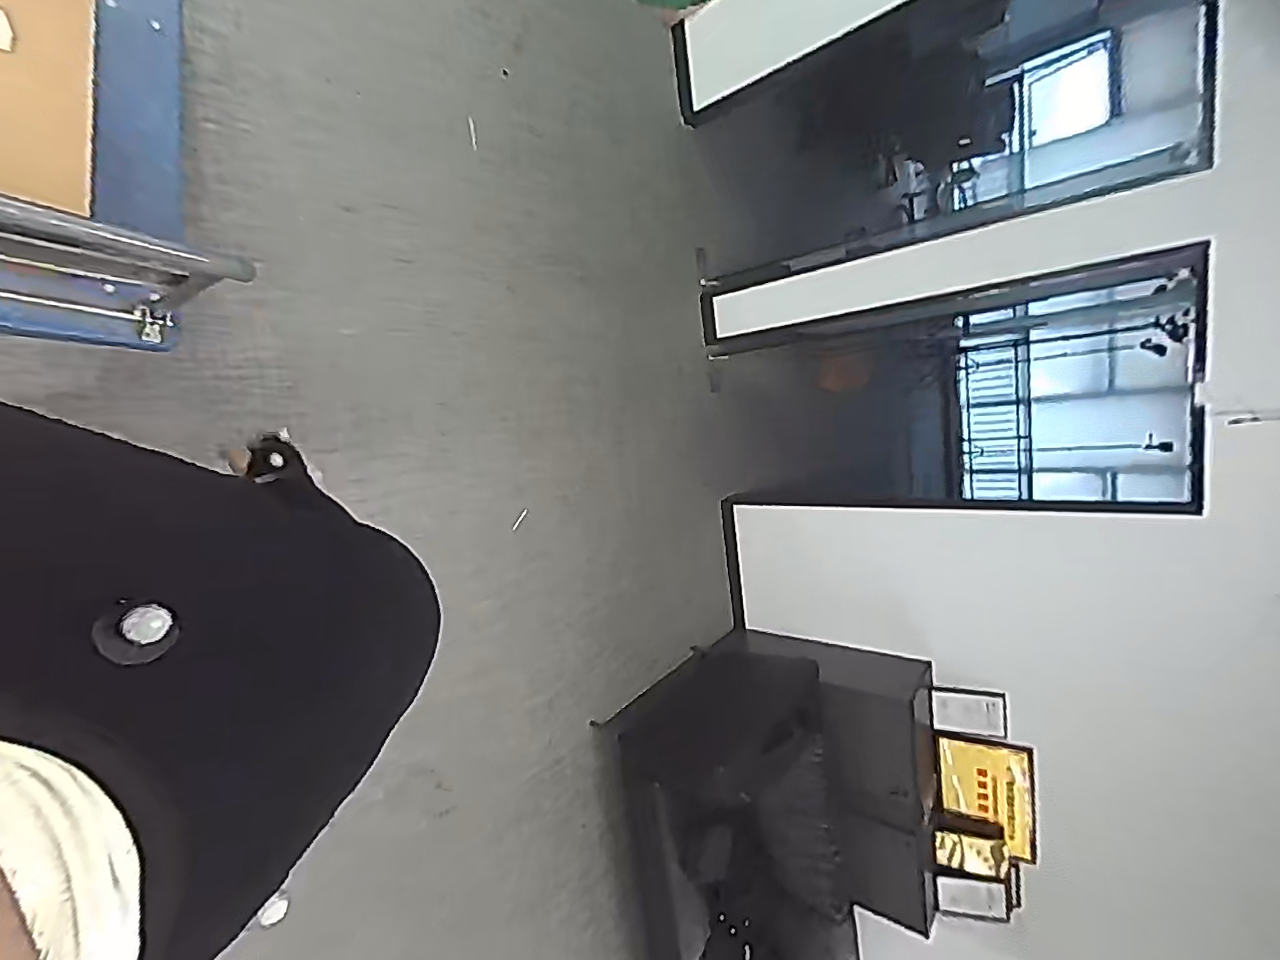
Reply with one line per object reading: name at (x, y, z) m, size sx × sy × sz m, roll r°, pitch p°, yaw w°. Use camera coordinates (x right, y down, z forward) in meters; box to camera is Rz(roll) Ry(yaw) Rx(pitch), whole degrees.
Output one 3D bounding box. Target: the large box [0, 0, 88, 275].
large box at (-1.093, -0.590, 0.836) m, size 0.320 × 0.320 × 0.408 m, roll 1°, pitch 88°, yaw -51°
